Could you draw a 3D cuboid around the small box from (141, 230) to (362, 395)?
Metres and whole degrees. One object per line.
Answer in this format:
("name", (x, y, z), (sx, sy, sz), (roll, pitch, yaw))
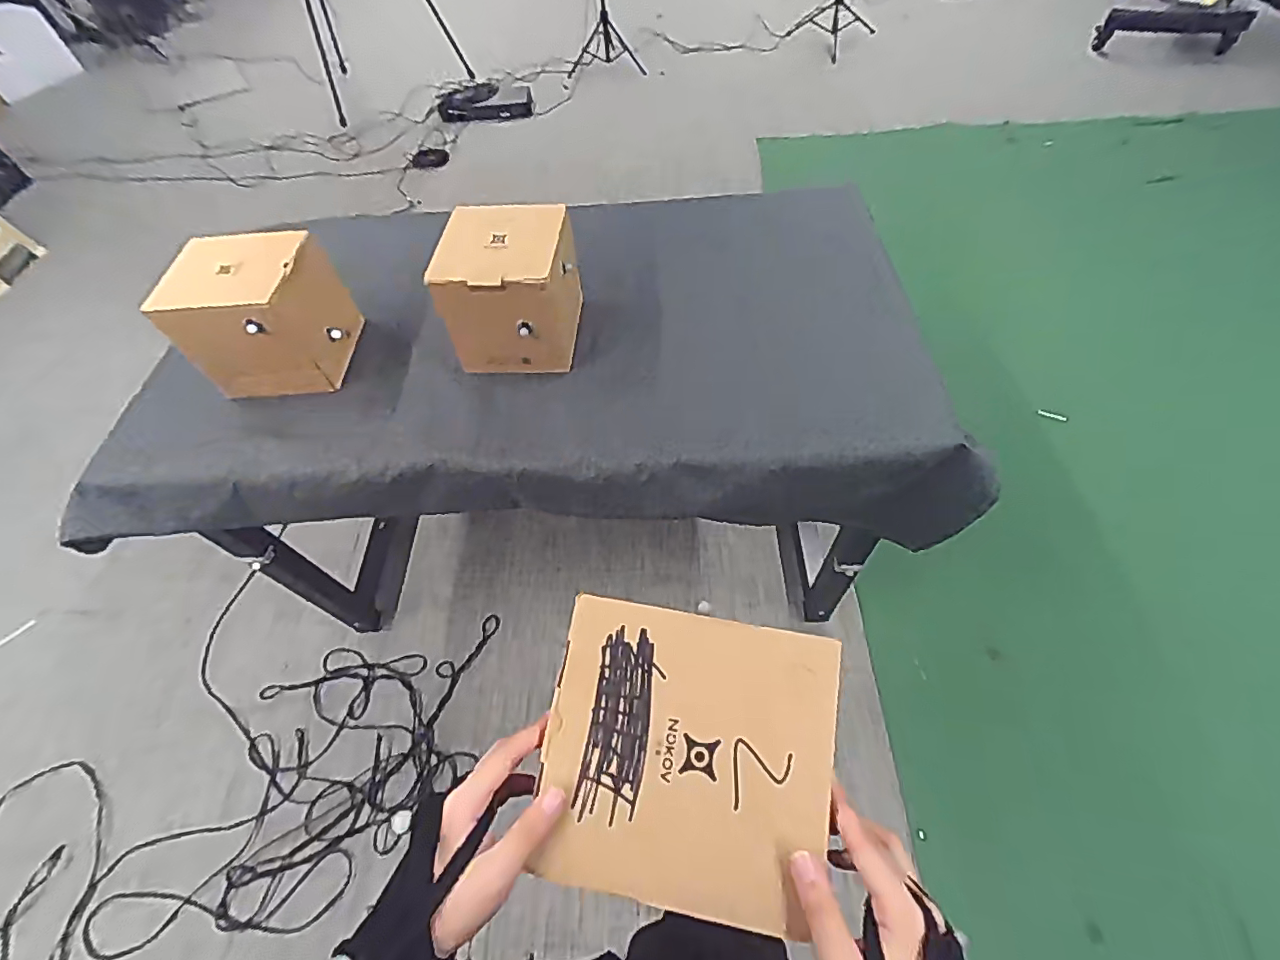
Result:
("small box", (-0.554, -0.242, 0.802), (0.179, 0.176, 0.168), (-3, 56, 1))

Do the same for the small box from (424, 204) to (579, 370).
("small box", (-0.188, -0.278, 0.798), (0.168, 0.176, 0.179), (1, 56, 4))
